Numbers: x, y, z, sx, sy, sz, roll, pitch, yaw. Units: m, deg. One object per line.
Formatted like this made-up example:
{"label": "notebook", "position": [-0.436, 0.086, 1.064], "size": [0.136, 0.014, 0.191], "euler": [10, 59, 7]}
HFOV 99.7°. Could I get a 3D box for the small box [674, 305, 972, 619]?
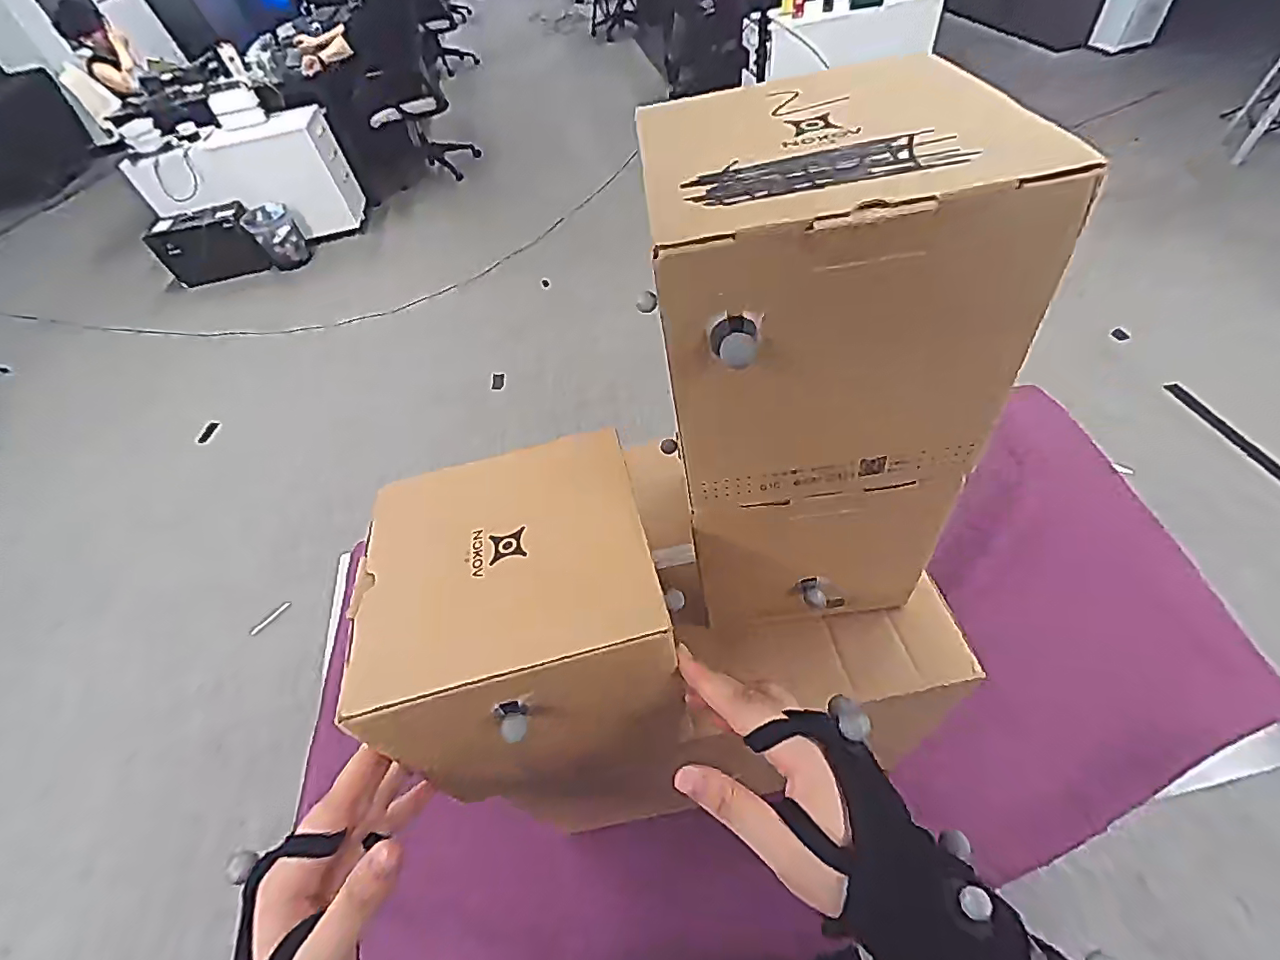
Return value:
{"label": "small box", "position": [0.122, -0.011, 0.436], "size": [0.168, 0.176, 0.179], "euler": [-9, 49, 5]}
